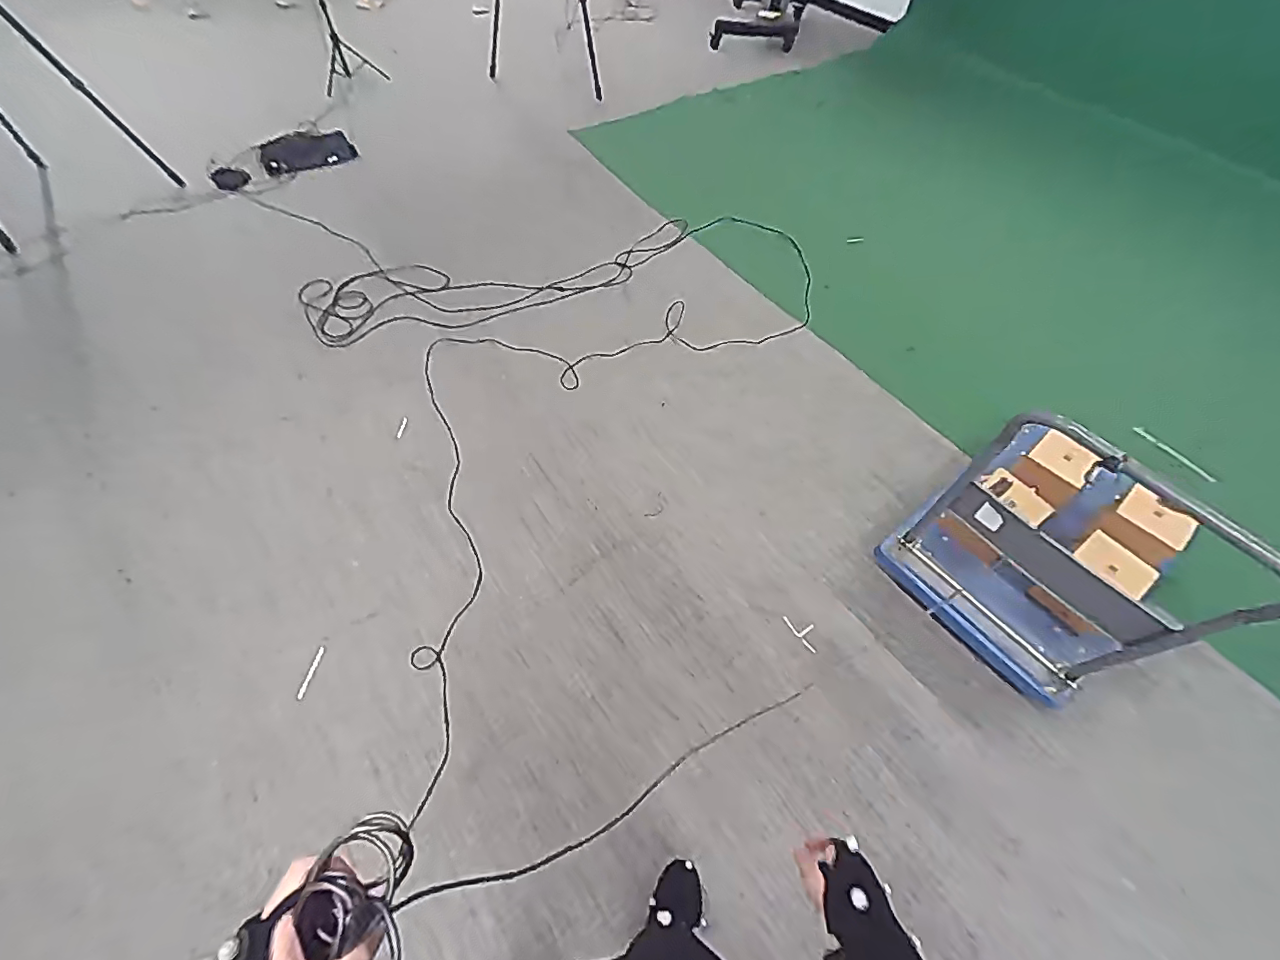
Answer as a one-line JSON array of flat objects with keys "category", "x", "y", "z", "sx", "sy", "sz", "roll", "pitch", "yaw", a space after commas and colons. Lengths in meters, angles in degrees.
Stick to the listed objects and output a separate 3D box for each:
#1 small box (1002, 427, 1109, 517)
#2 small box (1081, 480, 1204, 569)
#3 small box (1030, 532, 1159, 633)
[{"category": "small box", "x": 1.240, "y": -0.018, "z": 1.631, "sx": 0.179, "sy": 0.176, "sz": 0.168, "roll": -36, "pitch": 65, "yaw": -22}, {"category": "small box", "x": 1.409, "y": 0.139, "z": 1.529, "sx": 0.179, "sy": 0.176, "sz": 0.168, "roll": -37, "pitch": 63, "yaw": -21}, {"category": "small box", "x": 1.195, "y": 0.275, "z": 1.437, "sx": 0.179, "sy": 0.176, "sz": 0.168, "roll": -32, "pitch": 63, "yaw": -19}]
